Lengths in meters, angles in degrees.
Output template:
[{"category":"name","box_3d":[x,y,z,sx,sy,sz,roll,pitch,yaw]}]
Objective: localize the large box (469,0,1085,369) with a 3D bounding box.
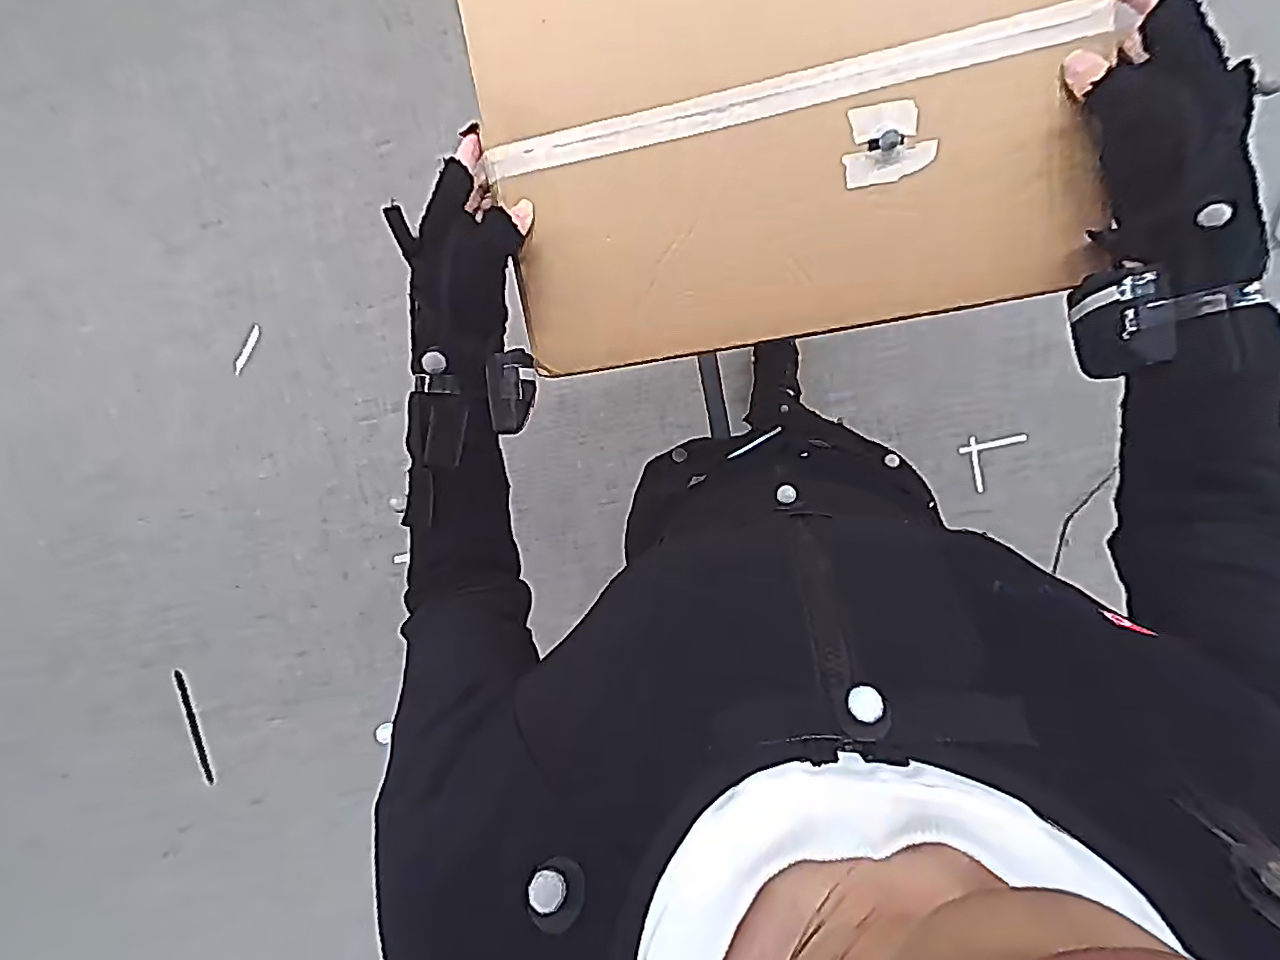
[{"category":"large box","box_3d":[0.107,-0.300,0.522,0.408,0.320,0.320,-8,103,9]}]
